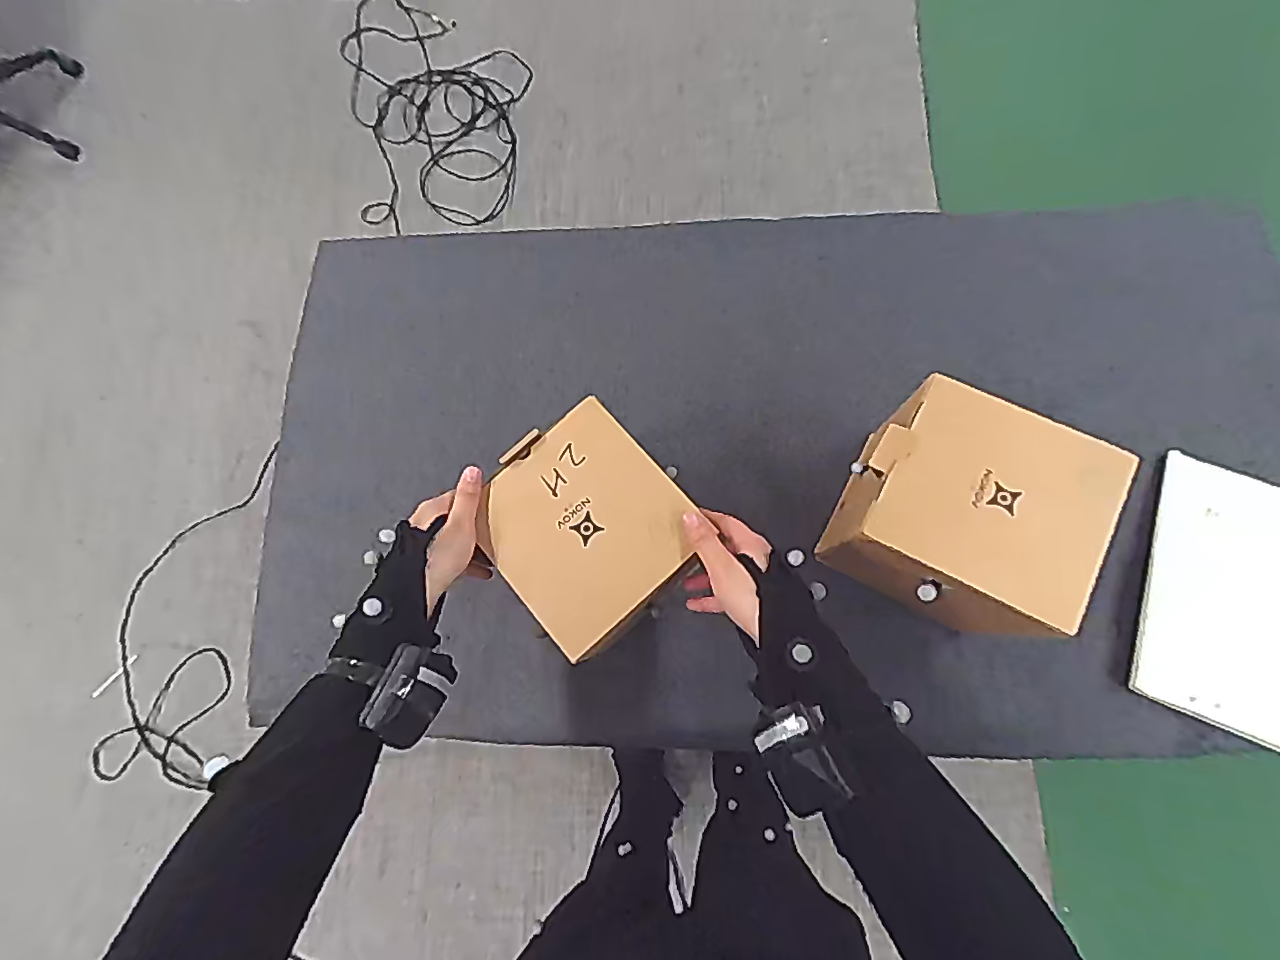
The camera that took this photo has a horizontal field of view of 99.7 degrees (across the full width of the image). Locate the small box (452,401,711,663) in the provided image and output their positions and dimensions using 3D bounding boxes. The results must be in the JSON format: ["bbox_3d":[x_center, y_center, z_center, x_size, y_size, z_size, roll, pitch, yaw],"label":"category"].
[{"bbox_3d":[-0.046,0.057,0.549,0.168,0.176,0.179,-41,76,-6],"label":"small box"}]

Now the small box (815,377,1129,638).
[{"bbox_3d":[0.297,0.034,0.525,0.179,0.176,0.168,27,79,12],"label":"small box"}]
